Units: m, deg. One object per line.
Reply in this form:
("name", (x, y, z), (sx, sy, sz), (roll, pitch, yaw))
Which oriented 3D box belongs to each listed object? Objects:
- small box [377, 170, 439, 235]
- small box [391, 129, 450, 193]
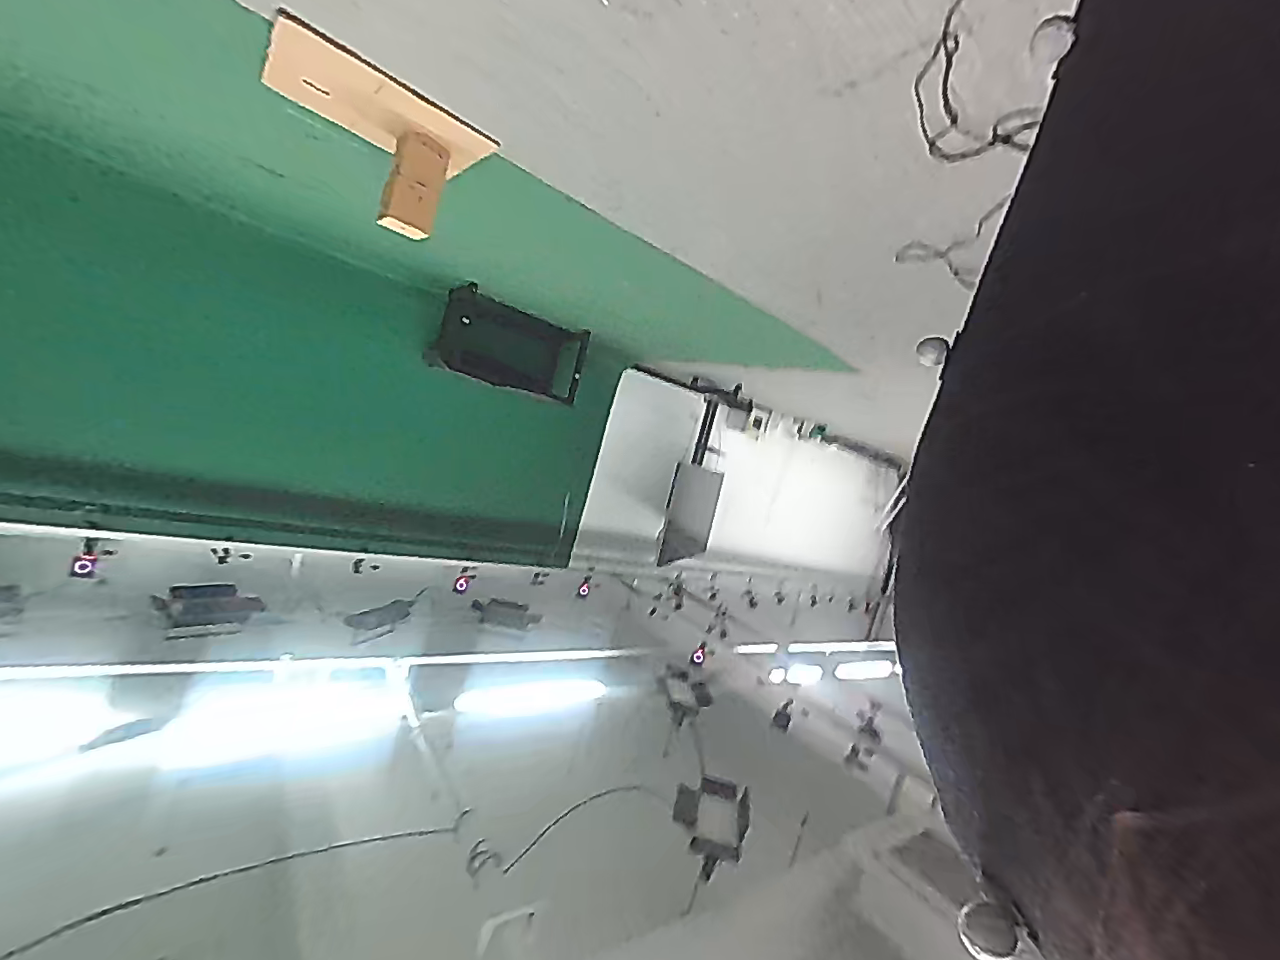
("small box", (-0.929, -1.109, 2.169), (0.168, 0.176, 0.179), (13, -175, -43))
("small box", (-0.873, -1.262, 2.152), (0.168, 0.176, 0.179), (12, -174, -41))
